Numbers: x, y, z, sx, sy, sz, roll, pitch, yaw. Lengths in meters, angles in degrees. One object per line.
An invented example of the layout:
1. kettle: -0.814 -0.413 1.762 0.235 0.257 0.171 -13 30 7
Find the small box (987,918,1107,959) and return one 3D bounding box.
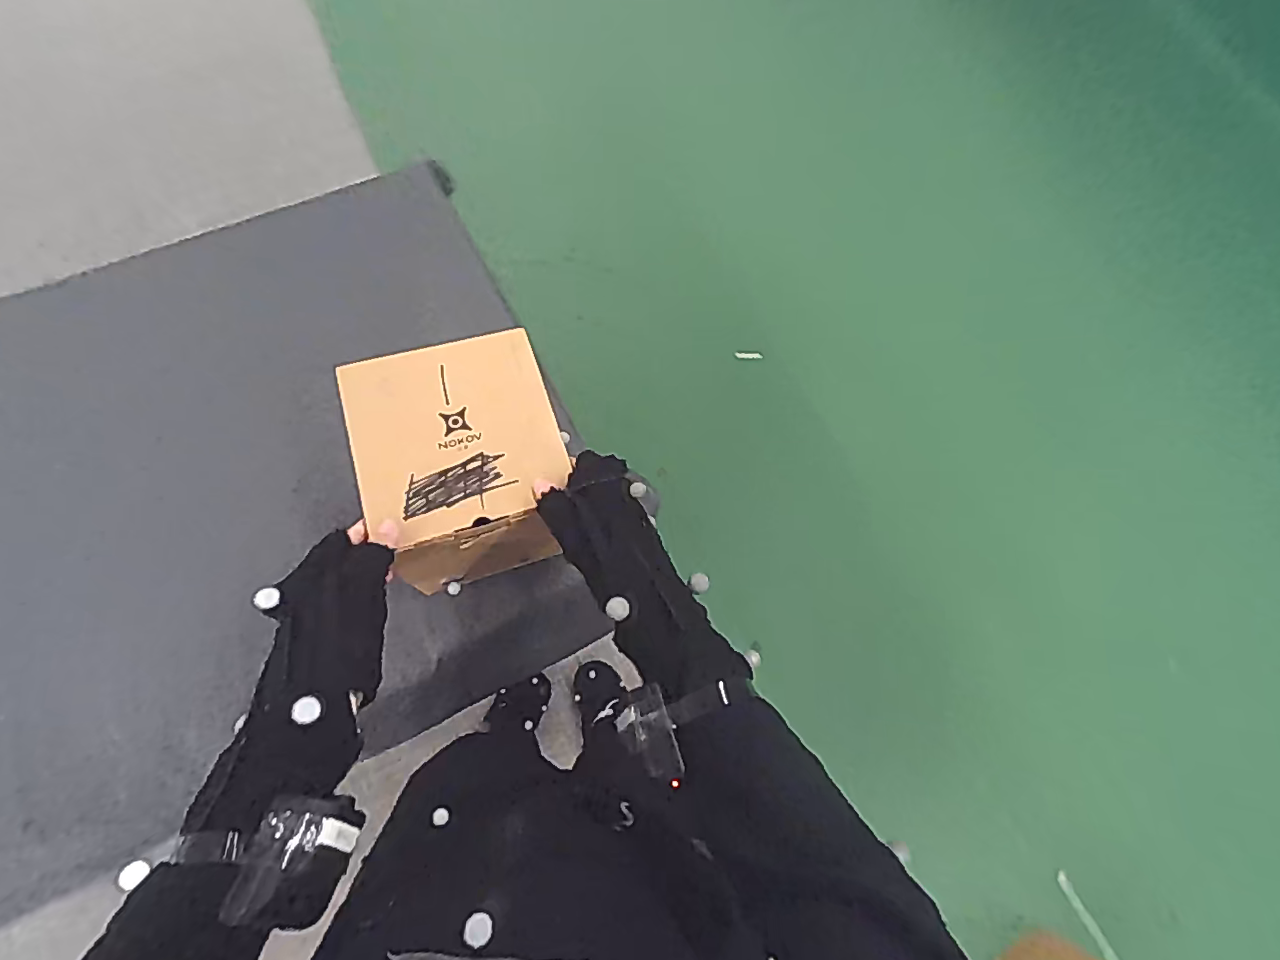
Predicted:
1. small box: 0.872 1.066 1.115 0.179 0.176 0.168 -25 77 -11

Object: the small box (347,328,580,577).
1. small box: -0.158 -0.014 0.528 0.168 0.176 0.179 -15 71 -13
